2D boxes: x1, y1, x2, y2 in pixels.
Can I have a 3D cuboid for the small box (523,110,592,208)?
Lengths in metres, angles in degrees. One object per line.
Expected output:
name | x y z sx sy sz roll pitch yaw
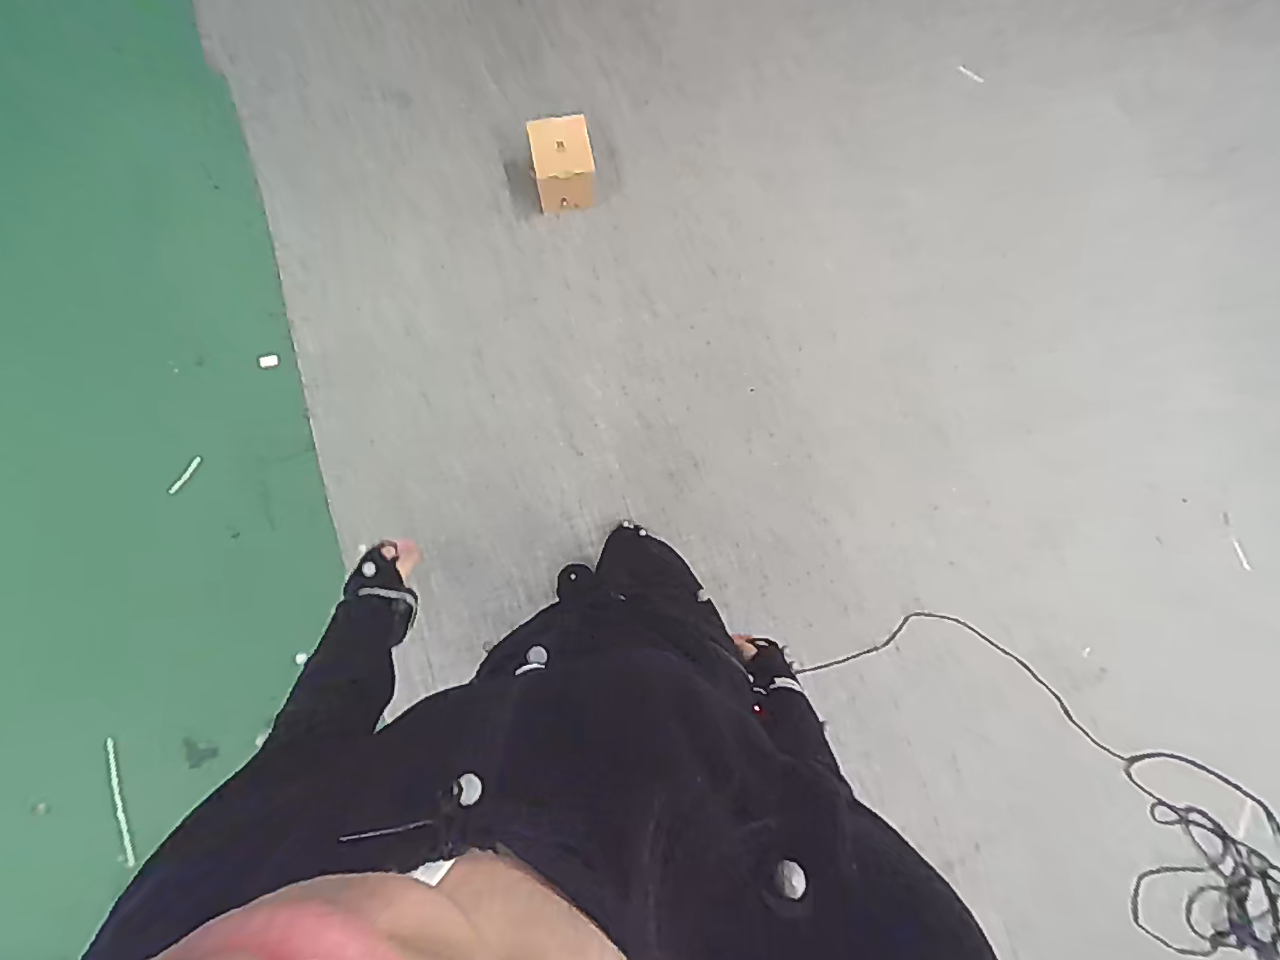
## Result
small box | -0.236 -0.921 1.561 0.168 0.176 0.179 -11 85 -6
